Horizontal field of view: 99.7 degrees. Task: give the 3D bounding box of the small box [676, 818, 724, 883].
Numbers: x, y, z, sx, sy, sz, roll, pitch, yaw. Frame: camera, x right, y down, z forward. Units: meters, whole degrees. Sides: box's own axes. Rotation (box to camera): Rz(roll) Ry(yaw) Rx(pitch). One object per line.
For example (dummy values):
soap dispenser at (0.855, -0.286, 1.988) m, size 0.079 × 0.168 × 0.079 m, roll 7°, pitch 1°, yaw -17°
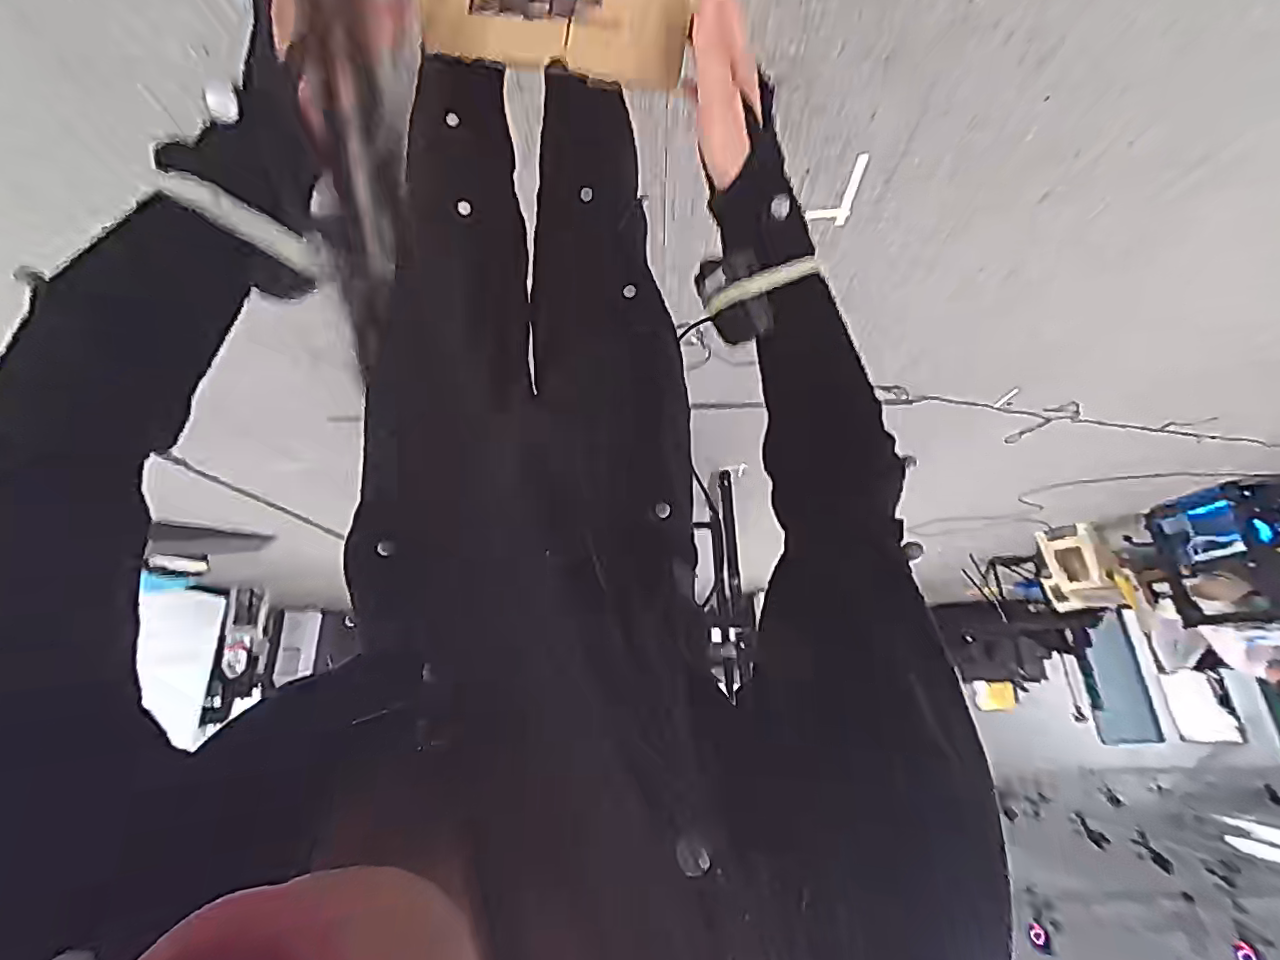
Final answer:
small box at (0.231, 1.451, 2.124) m, size 0.168 × 0.176 × 0.179 m, roll -2°, pitch 162°, yaw 1°
